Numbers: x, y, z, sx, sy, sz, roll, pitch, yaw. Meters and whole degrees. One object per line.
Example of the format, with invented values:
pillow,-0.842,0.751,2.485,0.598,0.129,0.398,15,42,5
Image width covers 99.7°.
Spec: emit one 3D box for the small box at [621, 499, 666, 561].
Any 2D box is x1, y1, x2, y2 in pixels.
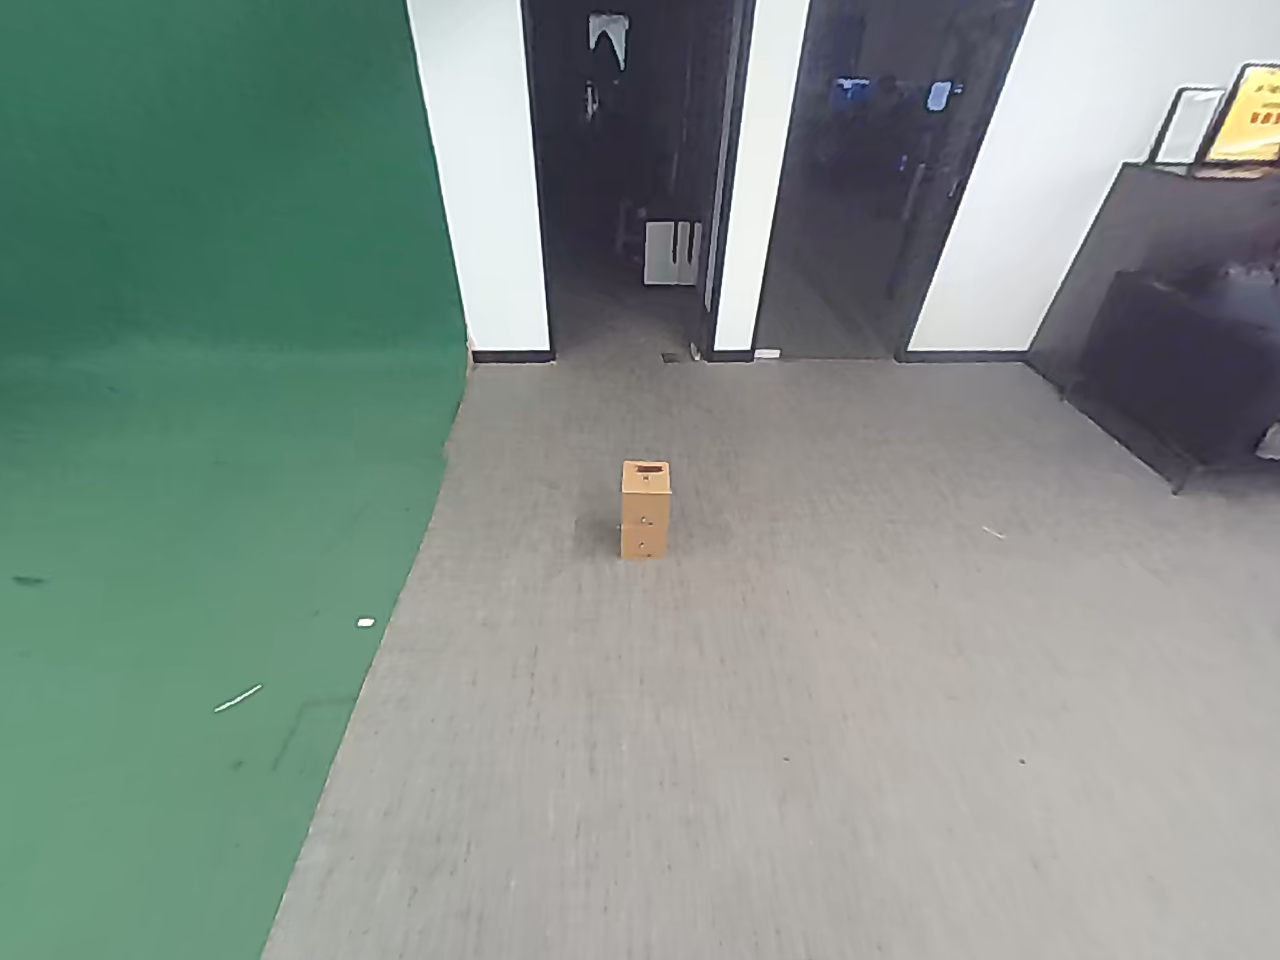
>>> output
small box,0.012,0.190,2.043,0.168,0.176,0.179,1,40,-2
